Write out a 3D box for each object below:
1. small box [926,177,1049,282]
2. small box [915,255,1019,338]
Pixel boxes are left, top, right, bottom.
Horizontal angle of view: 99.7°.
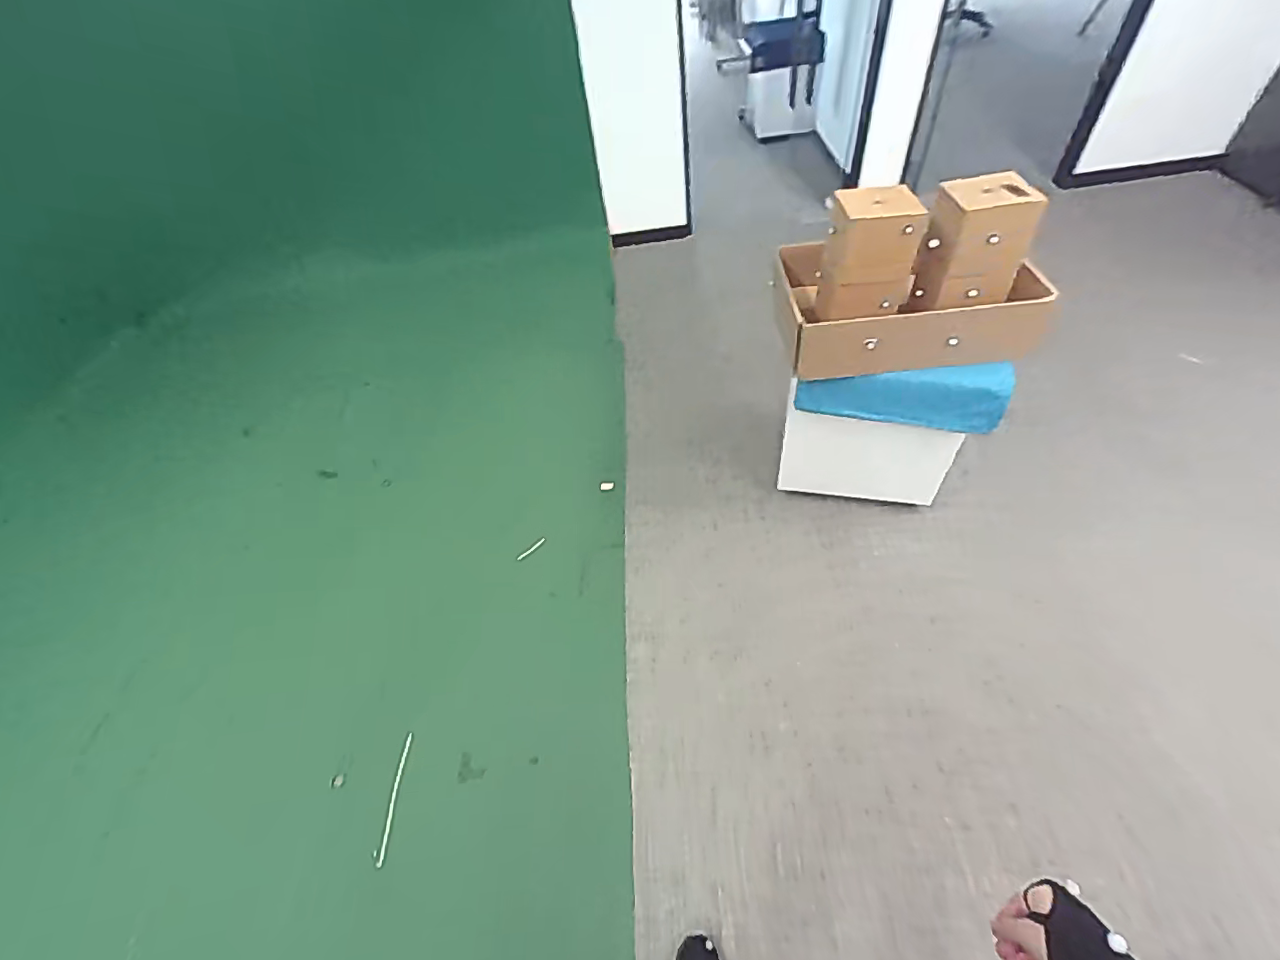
[{"bbox_3d":[0.828,-0.602,1.310,0.179,0.176,0.168,-6,48,6],"label":"small box"},{"bbox_3d":[0.849,-0.493,1.430,0.179,0.176,0.168,-5,48,6],"label":"small box"}]
